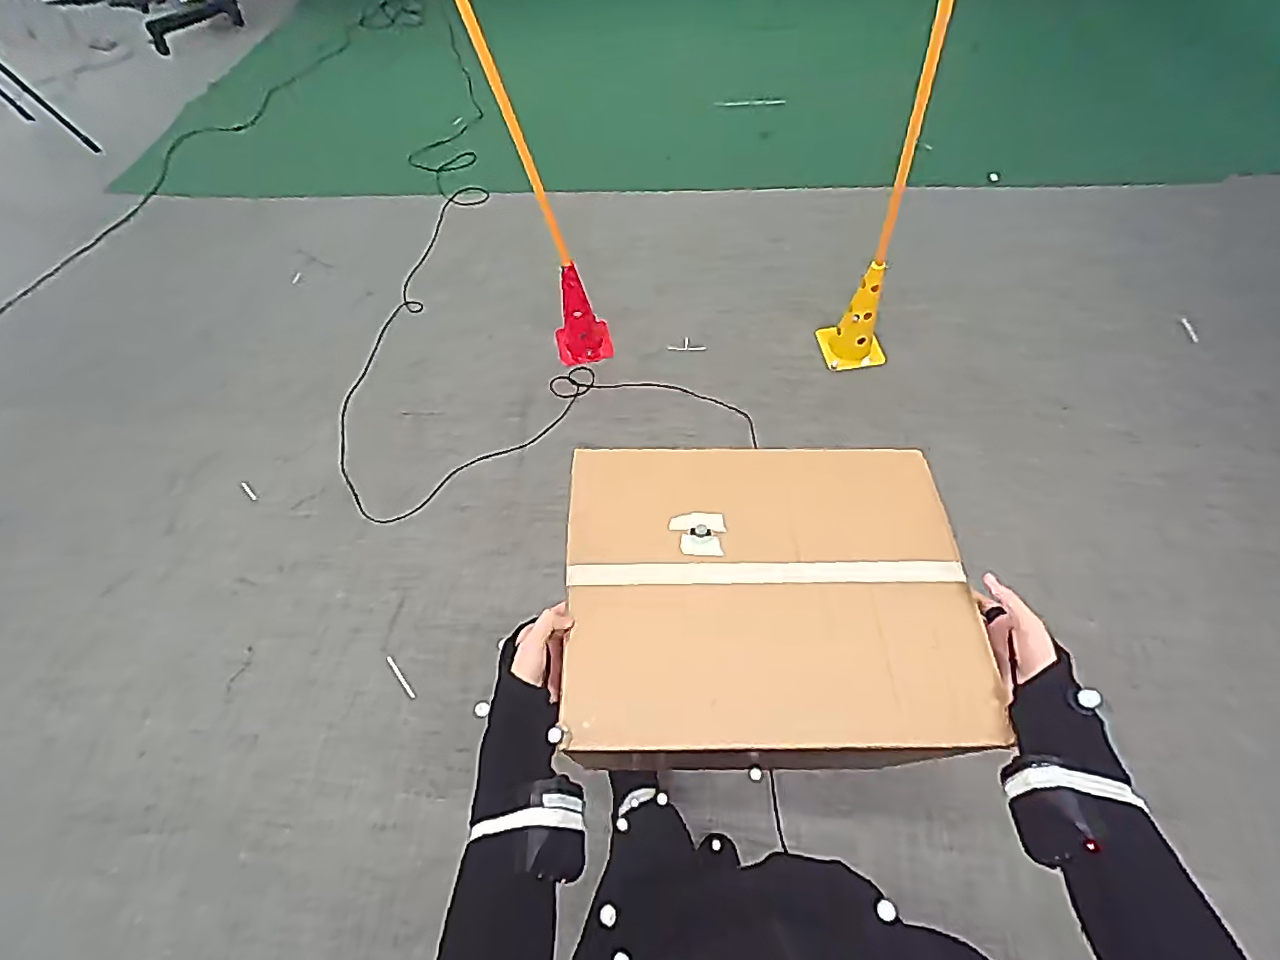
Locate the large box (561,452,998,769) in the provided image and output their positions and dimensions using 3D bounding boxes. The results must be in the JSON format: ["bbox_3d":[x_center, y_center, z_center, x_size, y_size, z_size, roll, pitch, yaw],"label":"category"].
[{"bbox_3d":[0.125,0.181,0.687,0.408,0.320,0.320,-1,58,-1],"label":"large box"}]
